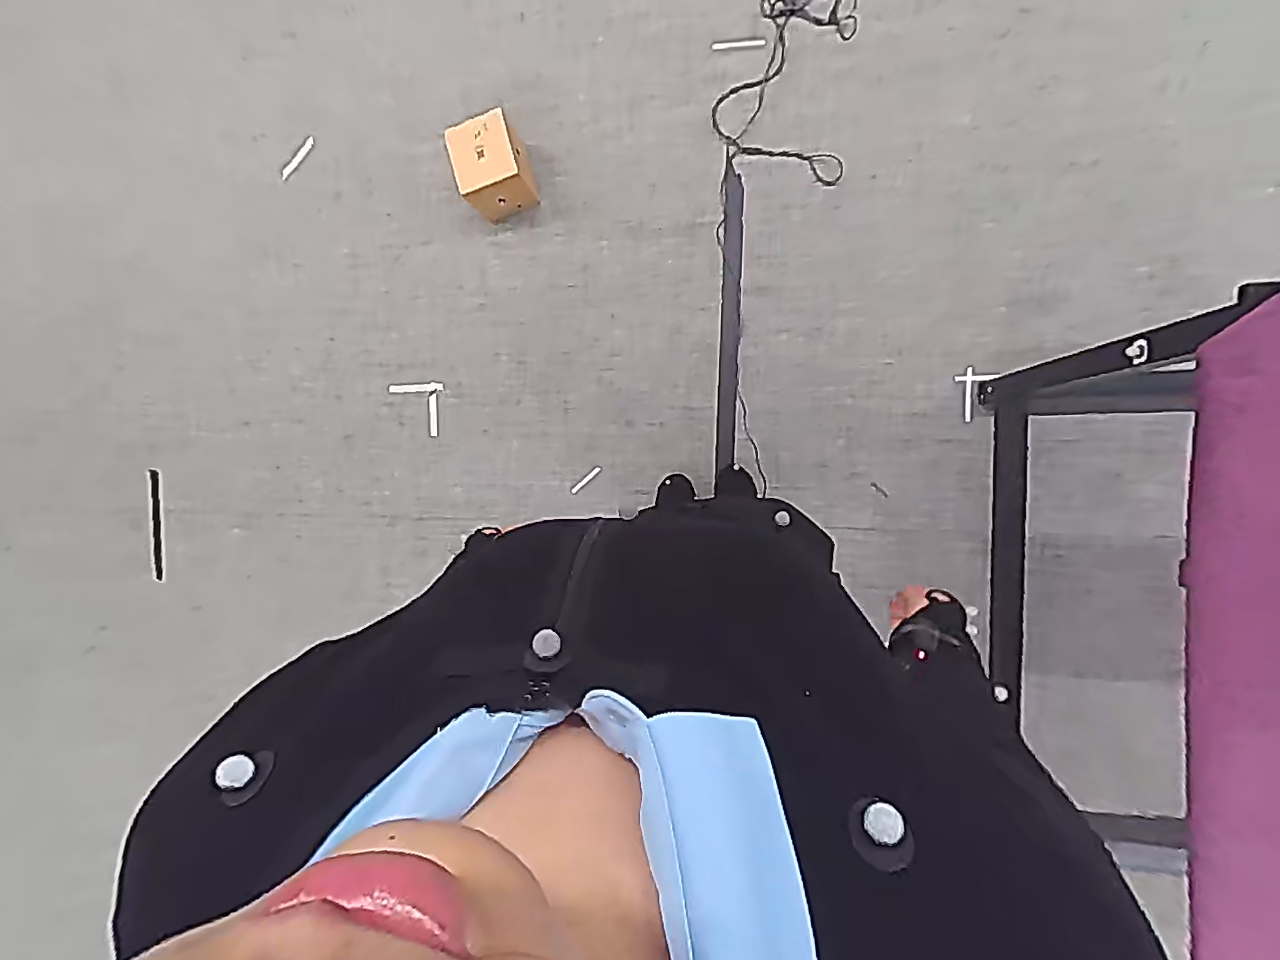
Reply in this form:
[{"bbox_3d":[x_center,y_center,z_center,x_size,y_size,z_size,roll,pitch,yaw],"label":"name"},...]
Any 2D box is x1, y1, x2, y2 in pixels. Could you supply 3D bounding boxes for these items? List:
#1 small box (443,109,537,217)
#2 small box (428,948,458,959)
[{"bbox_3d":[-0.393,-0.834,1.448,0.168,0.176,0.179,-15,90,10],"label":"small box"},{"bbox_3d":[-0.597,1.542,1.582,0.179,0.176,0.168,26,96,7],"label":"small box"}]
